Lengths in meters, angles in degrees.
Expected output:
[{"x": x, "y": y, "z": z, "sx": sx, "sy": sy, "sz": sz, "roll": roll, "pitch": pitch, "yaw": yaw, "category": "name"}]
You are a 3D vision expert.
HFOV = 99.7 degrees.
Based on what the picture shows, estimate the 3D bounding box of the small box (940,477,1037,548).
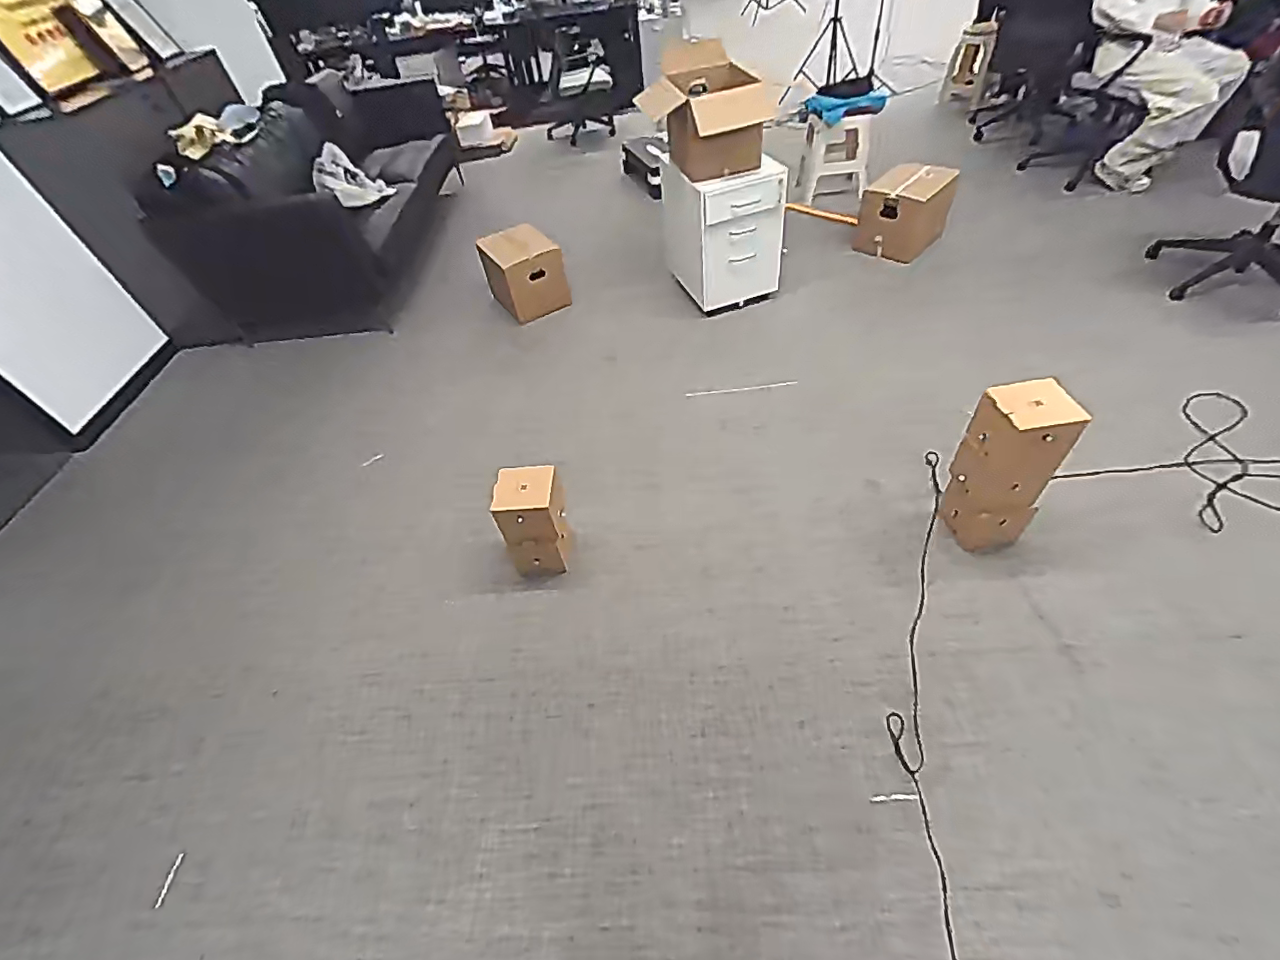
[{"x": 1.045, "y": 0.087, "z": 1.643, "sx": 0.179, "sy": 0.176, "sz": 0.168, "roll": -11, "pitch": 48, "yaw": -1, "category": "small box"}]

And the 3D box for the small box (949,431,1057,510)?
[{"x": 1.019, "y": -0.035, "z": 1.536, "sx": 0.179, "sy": 0.176, "sz": 0.168, "roll": -9, "pitch": 47, "yaw": 3, "category": "small box"}]

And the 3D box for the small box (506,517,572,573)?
[{"x": -0.326, "y": 0.197, "z": 1.784, "sx": 0.168, "sy": 0.176, "sz": 0.179, "roll": -5, "pitch": 48, "yaw": 6, "category": "small box"}]

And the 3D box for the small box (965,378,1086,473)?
[{"x": 0.994, "y": -0.139, "z": 1.413, "sx": 0.179, "sy": 0.176, "sz": 0.168, "roll": -10, "pitch": 47, "yaw": 2, "category": "small box"}]

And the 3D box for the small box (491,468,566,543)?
[{"x": -0.338, "y": 0.083, "z": 1.668, "sx": 0.179, "sy": 0.176, "sz": 0.168, "roll": -4, "pitch": 49, "yaw": 5, "category": "small box"}]
